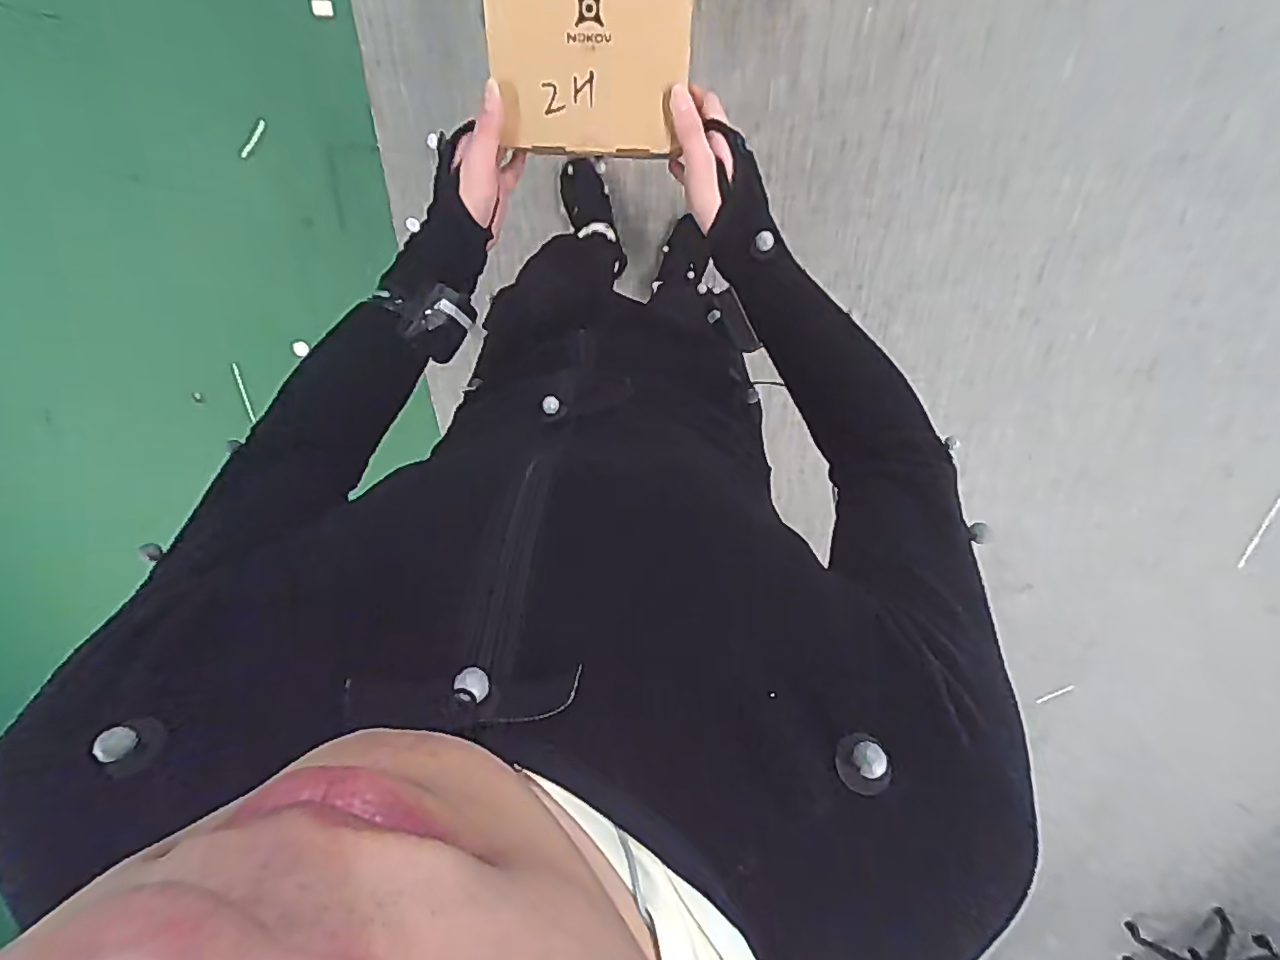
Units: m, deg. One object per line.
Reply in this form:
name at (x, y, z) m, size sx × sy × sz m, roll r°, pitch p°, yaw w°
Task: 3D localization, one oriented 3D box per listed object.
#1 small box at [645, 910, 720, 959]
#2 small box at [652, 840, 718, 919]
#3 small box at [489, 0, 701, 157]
small box at (0.101, 1.161, 1.285) m, size 0.179 × 0.176 × 0.168 m, roll 1°, pitch 119°, yaw 7°
small box at (0.118, 1.084, 1.428) m, size 0.168 × 0.176 × 0.179 m, roll 1°, pitch 120°, yaw 7°
small box at (-0.034, -0.401, 0.490) m, size 0.168 × 0.176 × 0.179 m, roll 2°, pitch 119°, yaw 0°
